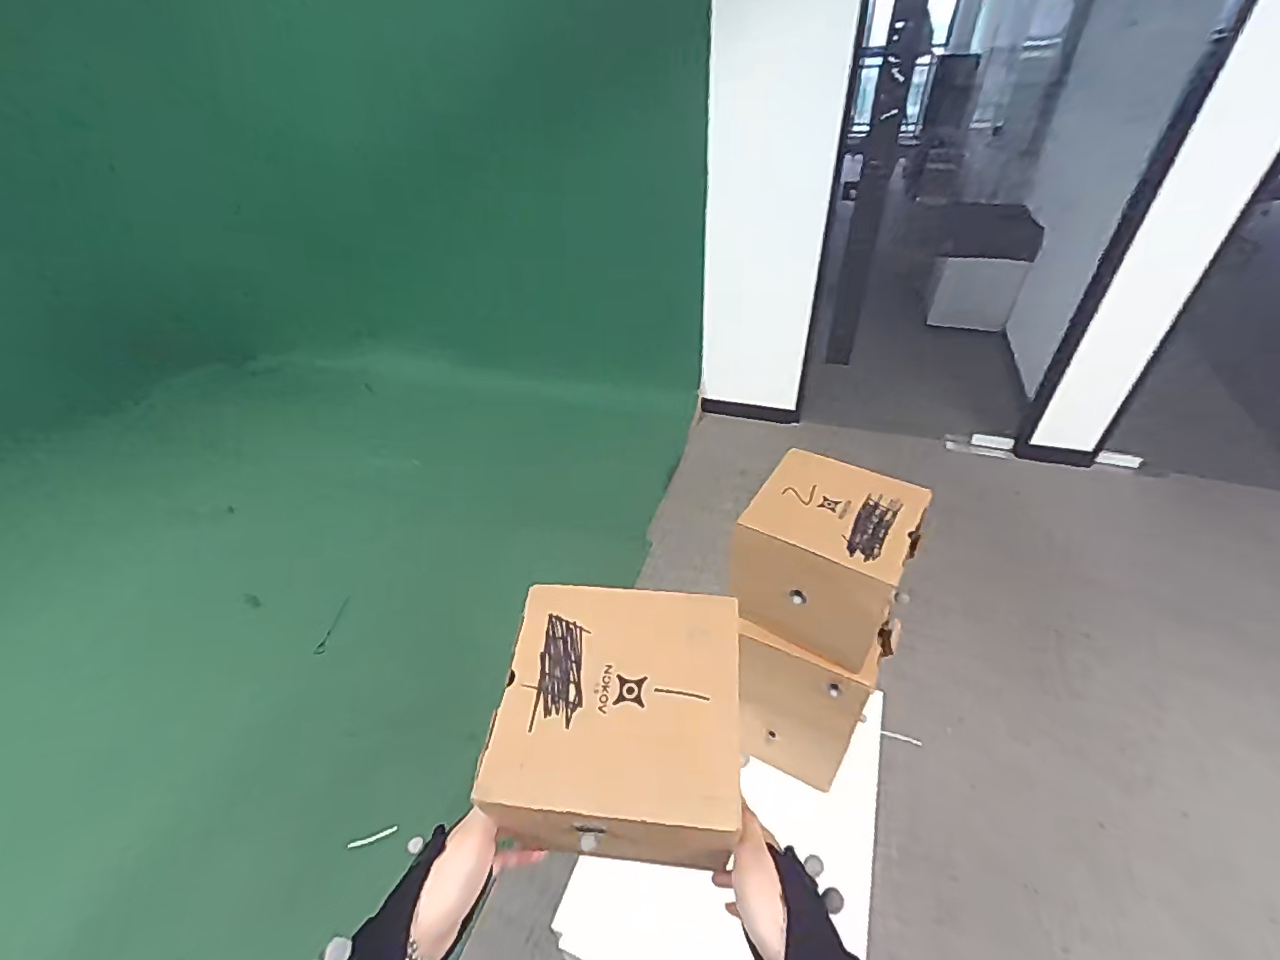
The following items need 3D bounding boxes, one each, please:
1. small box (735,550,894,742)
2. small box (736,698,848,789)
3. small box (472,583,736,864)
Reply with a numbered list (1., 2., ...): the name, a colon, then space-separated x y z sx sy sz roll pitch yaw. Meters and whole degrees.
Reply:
1. small box: 0.236 0.234 0.766 0.179 0.176 0.168 17 44 23
2. small box: 0.249 0.358 0.871 0.179 0.176 0.168 17 45 24
3. small box: -0.013 0.205 0.455 0.179 0.176 0.168 3 47 6
